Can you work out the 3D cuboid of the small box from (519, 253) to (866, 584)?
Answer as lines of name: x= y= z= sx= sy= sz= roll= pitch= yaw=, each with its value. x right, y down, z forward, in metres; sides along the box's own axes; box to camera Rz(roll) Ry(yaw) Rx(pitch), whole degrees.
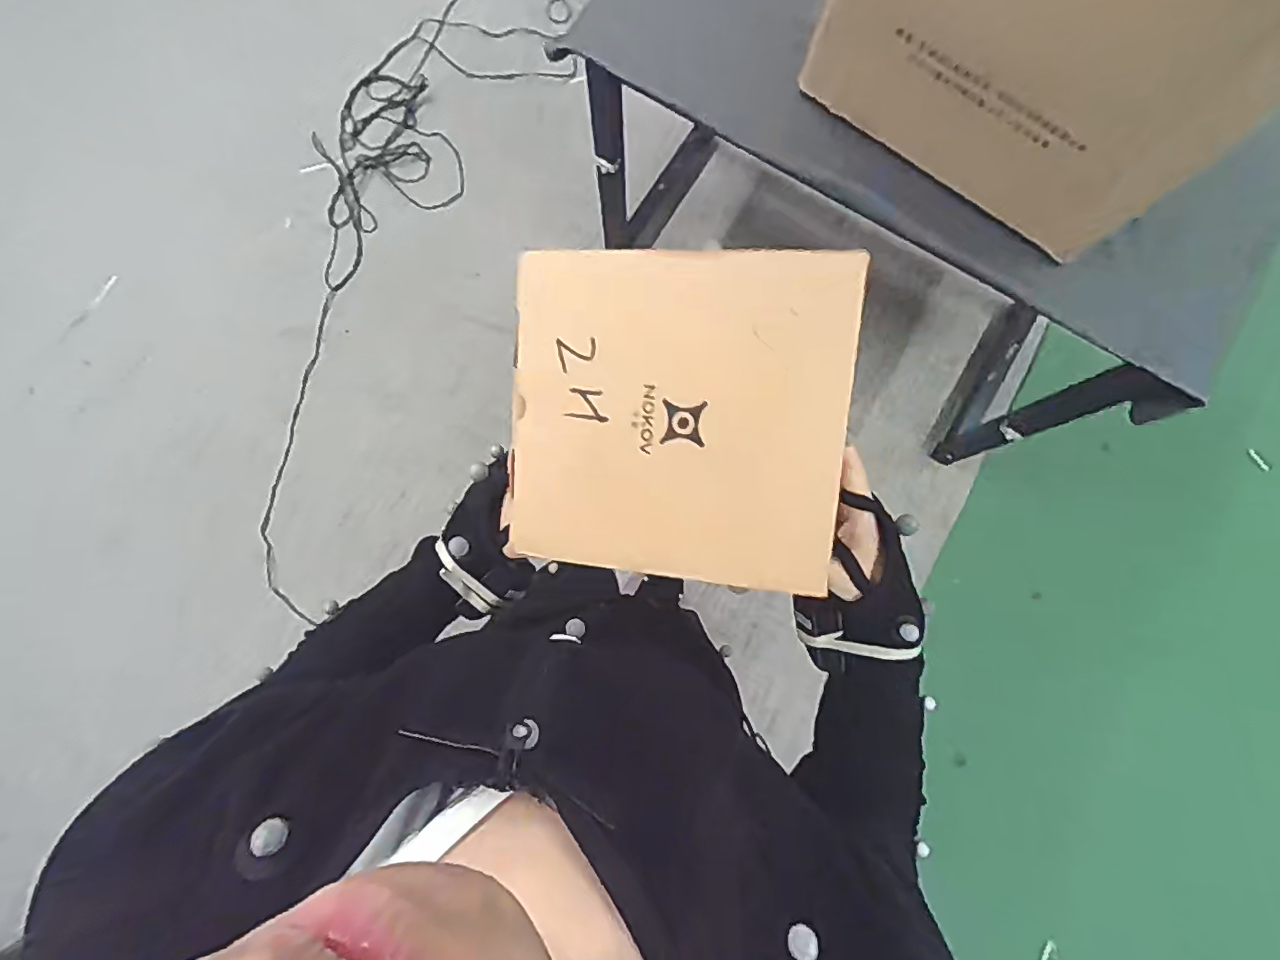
small box: x=0.036 y=-0.044 z=0.361 sx=0.179 sy=0.176 sz=0.168 roll=5 pitch=98 yaw=13
